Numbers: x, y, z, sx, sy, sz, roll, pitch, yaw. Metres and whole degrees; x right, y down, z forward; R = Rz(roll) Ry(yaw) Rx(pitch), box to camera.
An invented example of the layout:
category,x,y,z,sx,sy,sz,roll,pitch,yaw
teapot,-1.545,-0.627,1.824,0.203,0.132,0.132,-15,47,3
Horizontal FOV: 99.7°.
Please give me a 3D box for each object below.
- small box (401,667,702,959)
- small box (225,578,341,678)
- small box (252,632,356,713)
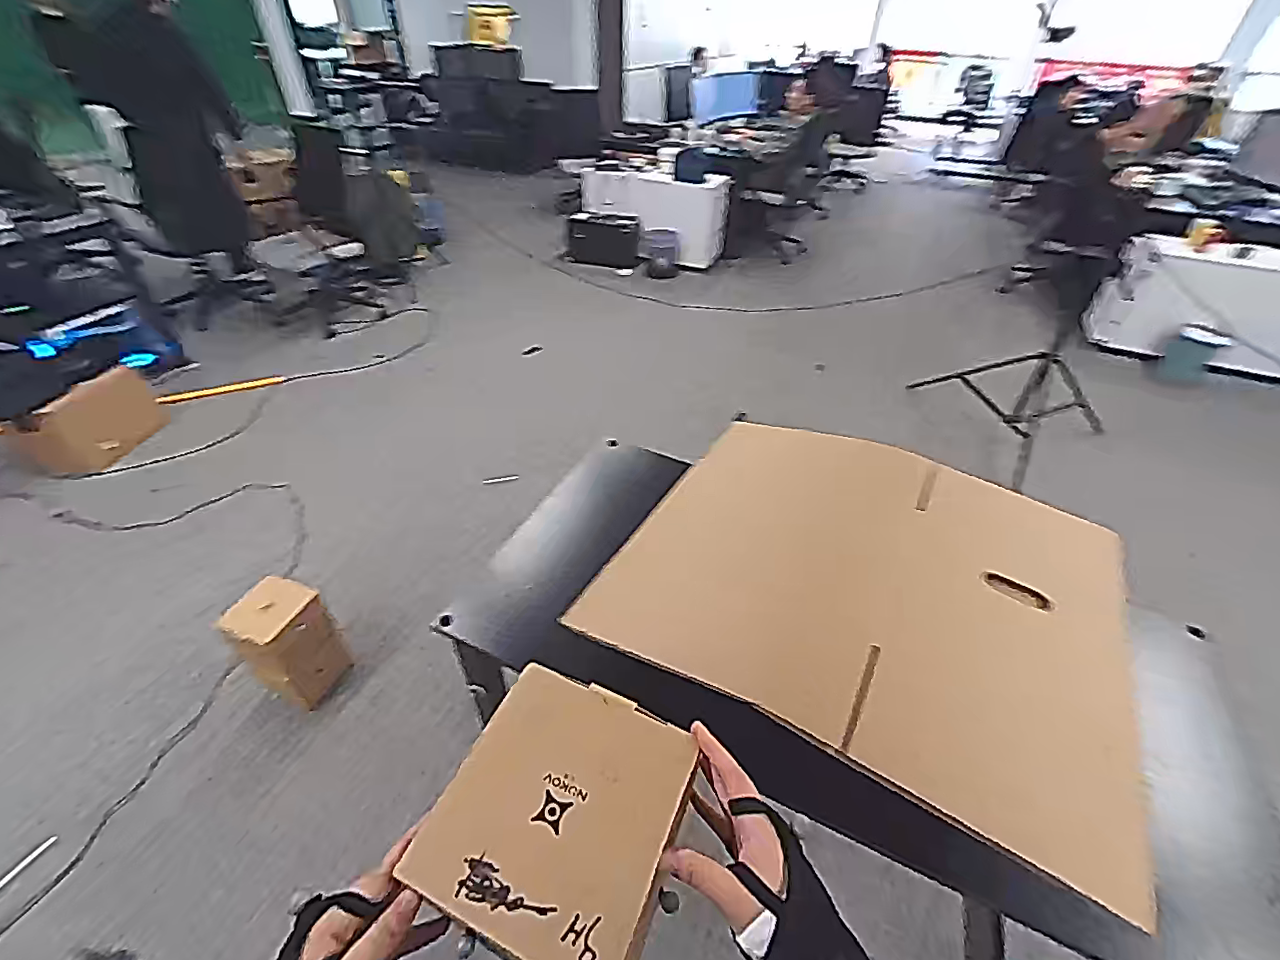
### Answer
category,x,y,z,sx,sy,sz,roll,pitch,yaw
small box,-0.058,0.301,0.455,0.168,0.176,0.179,16,43,18
small box,-0.946,0.401,1.453,0.168,0.176,0.179,14,41,13
small box,-0.951,0.528,1.554,0.168,0.176,0.179,16,43,16
